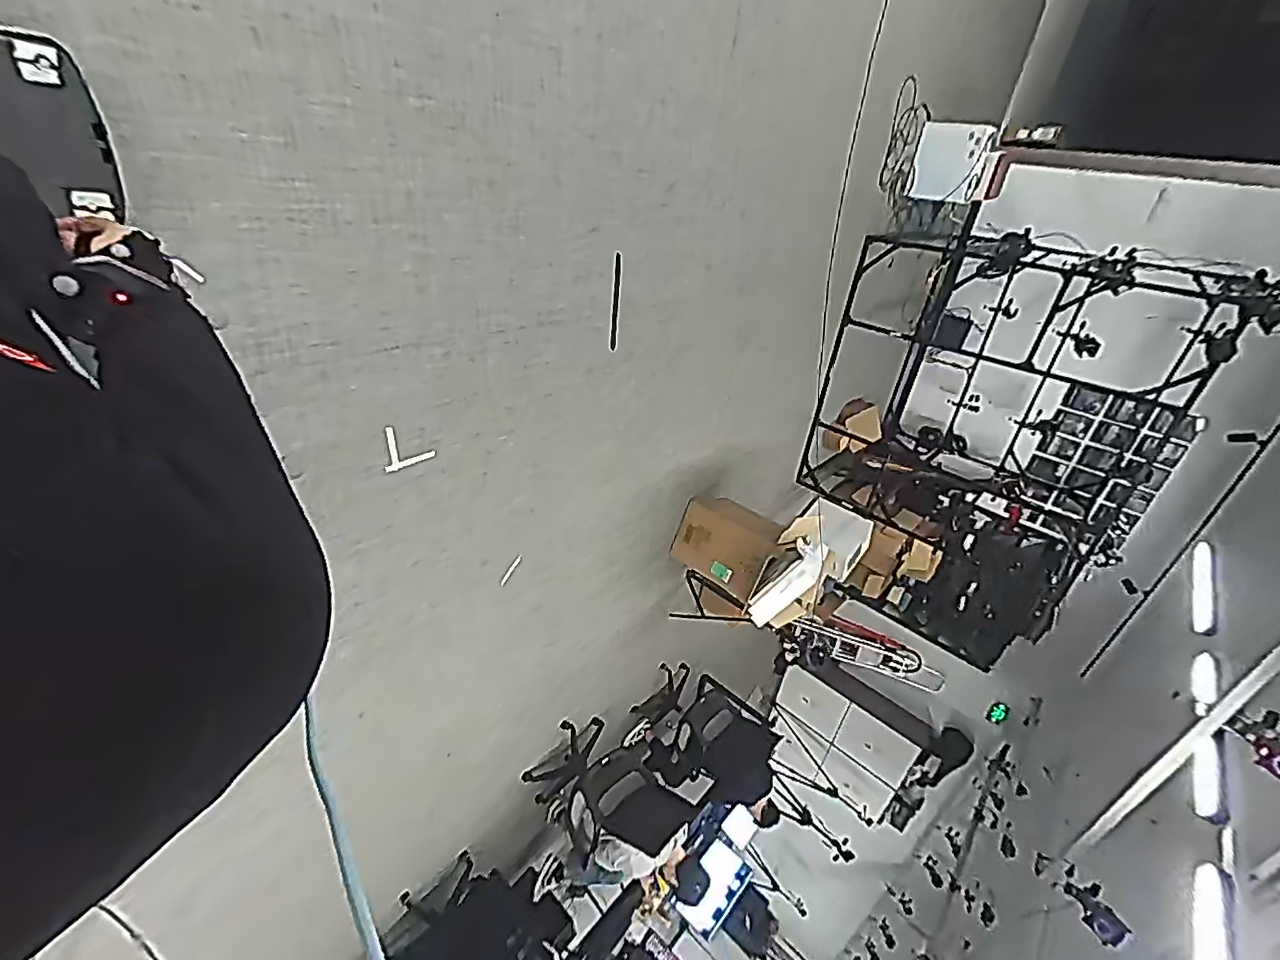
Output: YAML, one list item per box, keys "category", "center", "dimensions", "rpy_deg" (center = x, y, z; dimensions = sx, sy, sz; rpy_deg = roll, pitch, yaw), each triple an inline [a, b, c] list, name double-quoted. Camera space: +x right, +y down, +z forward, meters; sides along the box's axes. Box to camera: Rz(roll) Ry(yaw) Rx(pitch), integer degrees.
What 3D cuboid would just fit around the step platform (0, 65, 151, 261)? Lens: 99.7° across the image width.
- category: "step platform"
  center: [-1.163, -0.484, 0.773]
  dimensions: [0.684, 0.204, 0.286]
  rpy_deg: [-21, 130, -46]
